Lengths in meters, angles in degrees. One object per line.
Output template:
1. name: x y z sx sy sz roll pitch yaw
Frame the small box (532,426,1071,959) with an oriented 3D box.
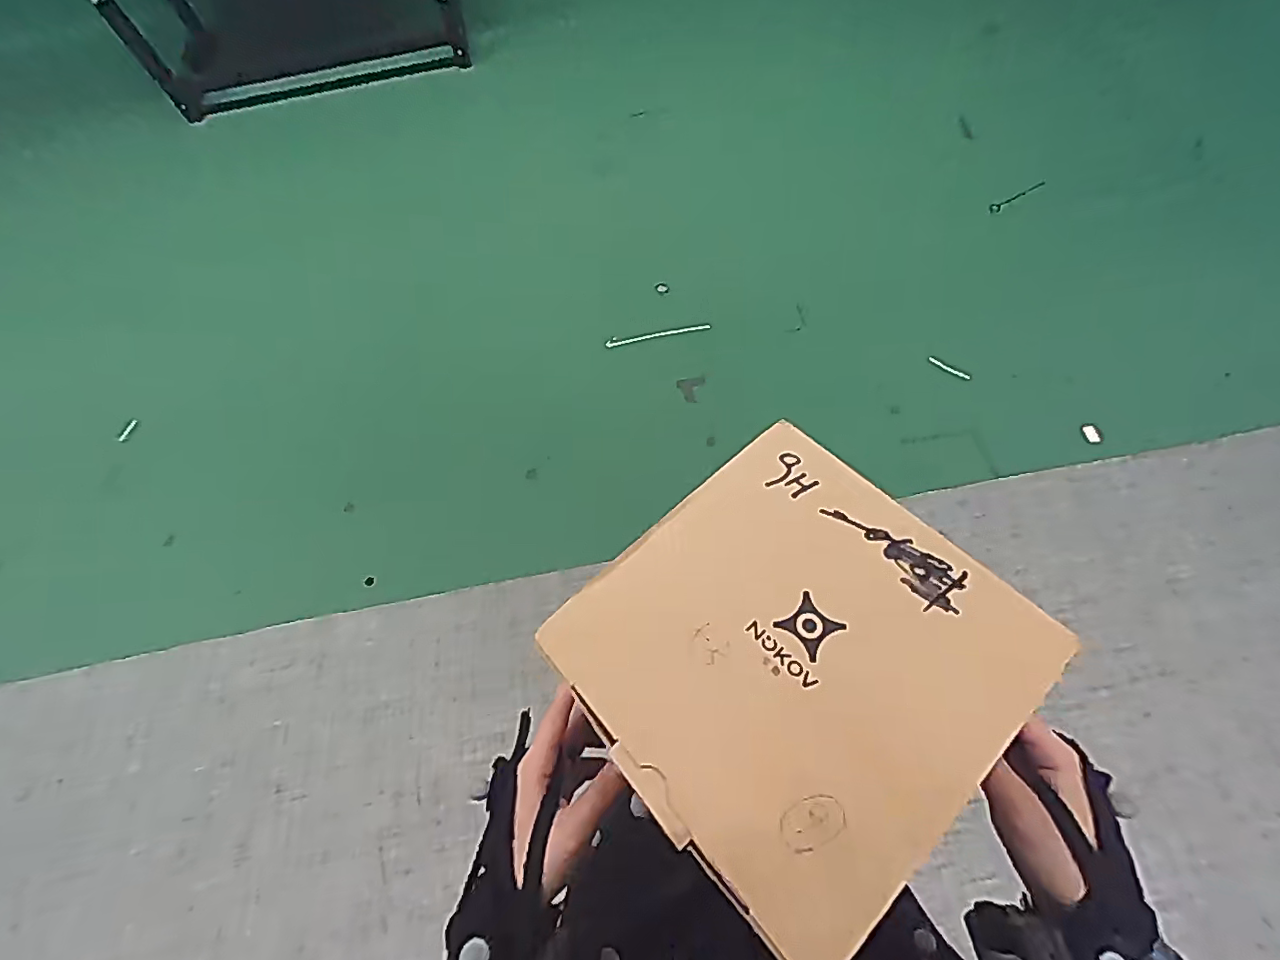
1. small box: 0.074 0.111 0.306 0.179 0.176 0.168 -39 63 -15
